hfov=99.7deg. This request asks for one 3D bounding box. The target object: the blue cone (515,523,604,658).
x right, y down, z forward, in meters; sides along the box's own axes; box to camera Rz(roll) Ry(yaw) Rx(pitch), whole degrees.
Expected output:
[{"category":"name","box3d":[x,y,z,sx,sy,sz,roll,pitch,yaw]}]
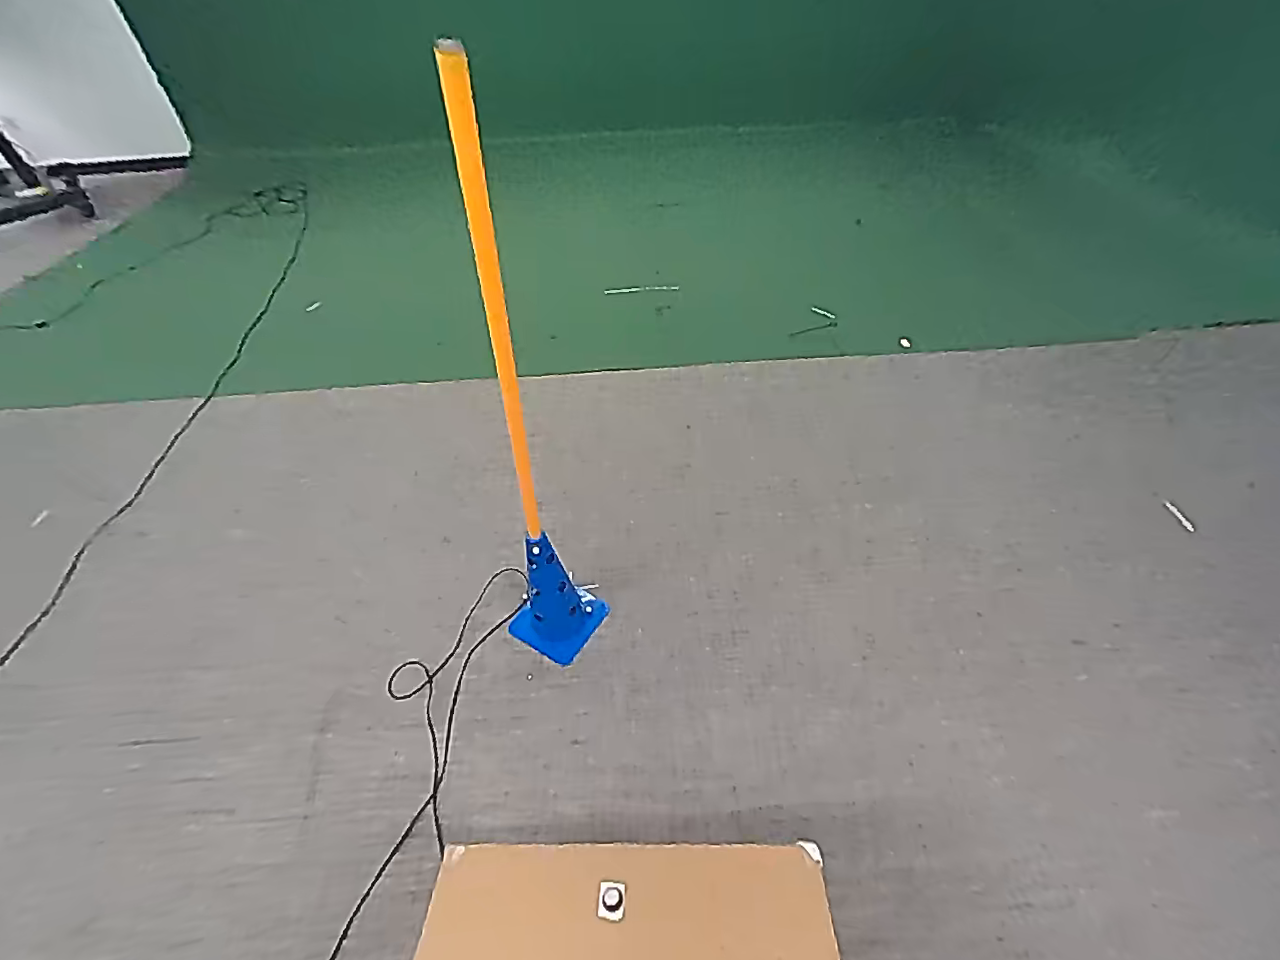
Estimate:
[{"category":"blue cone","box3d":[-0.209,0.230,1.261,0.192,0.380,0.193,22,50,21]}]
